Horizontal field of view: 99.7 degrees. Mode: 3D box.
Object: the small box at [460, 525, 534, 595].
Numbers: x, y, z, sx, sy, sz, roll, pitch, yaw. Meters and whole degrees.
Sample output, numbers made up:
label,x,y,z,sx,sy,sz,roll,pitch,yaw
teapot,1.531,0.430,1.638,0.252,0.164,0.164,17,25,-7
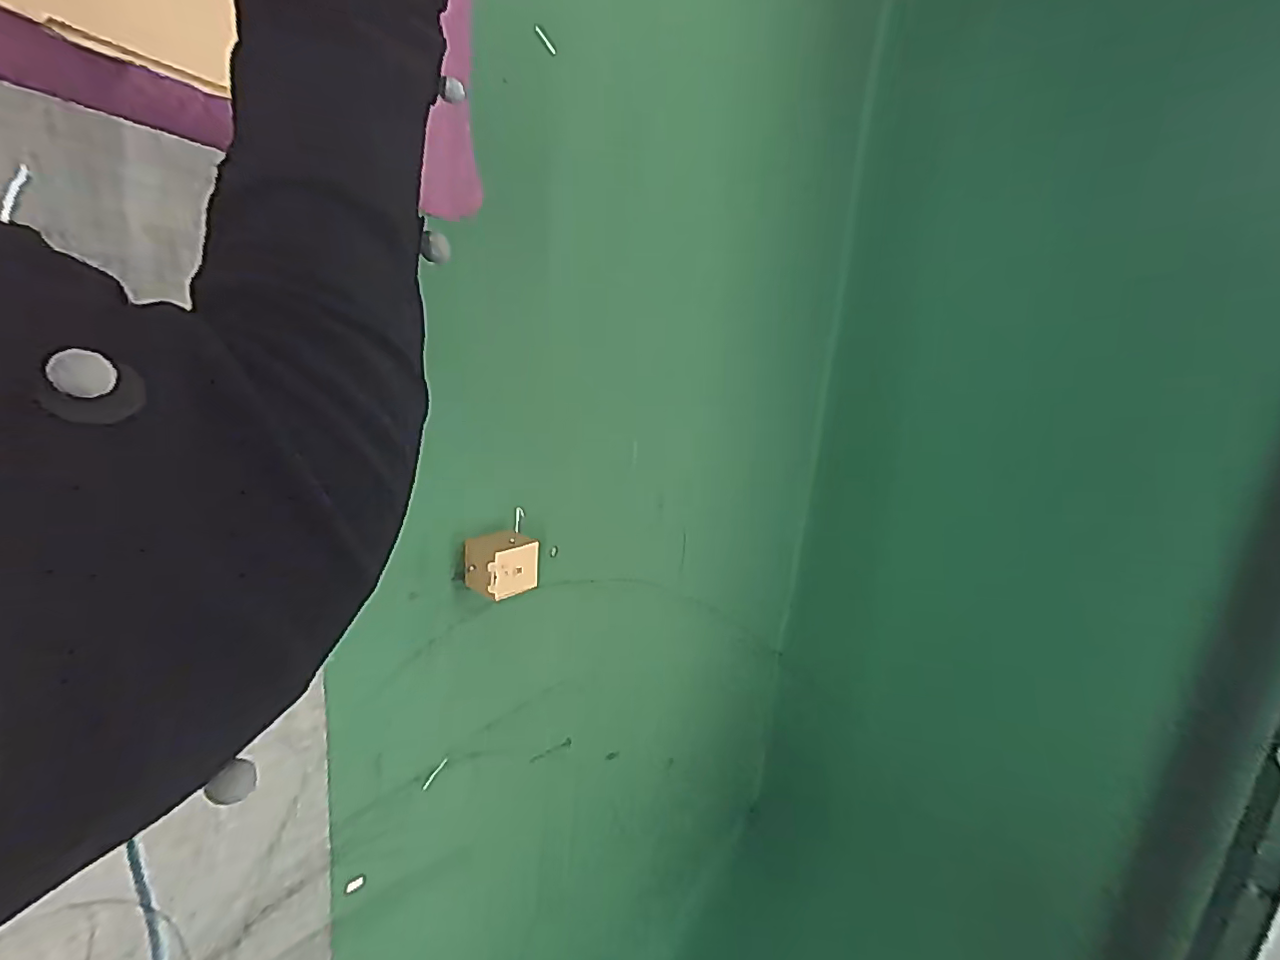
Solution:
label,x,y,z,sx,sy,sz,roll,pitch,yaw
small box,-0.477,0.258,1.806,0.179,0.176,0.168,-11,111,-49
